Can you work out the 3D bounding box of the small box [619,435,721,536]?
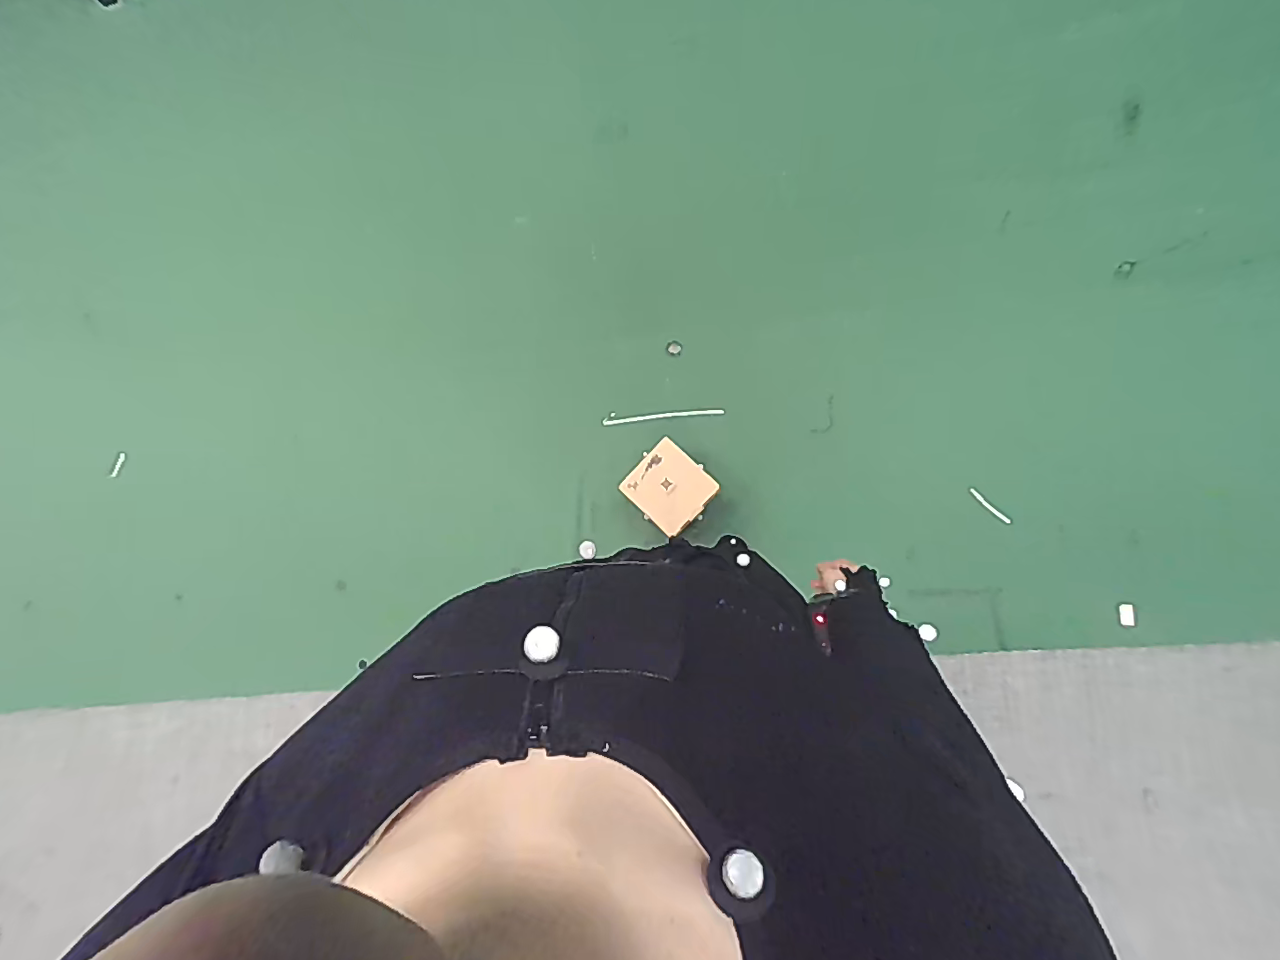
[{"bbox_3d":[0.076,0.015,1.306,0.179,0.176,0.168,43,91,7],"label":"small box"}]
